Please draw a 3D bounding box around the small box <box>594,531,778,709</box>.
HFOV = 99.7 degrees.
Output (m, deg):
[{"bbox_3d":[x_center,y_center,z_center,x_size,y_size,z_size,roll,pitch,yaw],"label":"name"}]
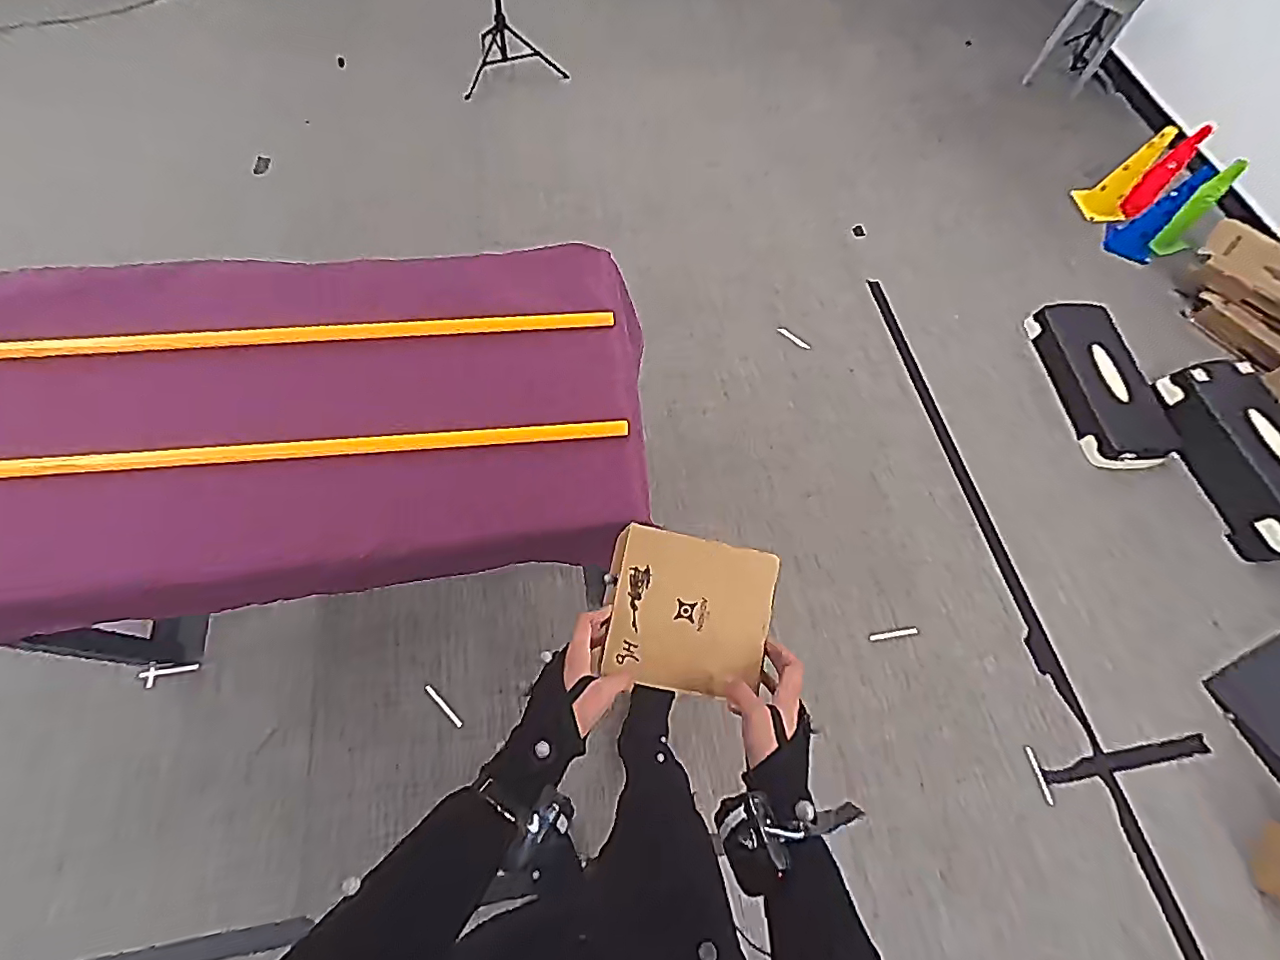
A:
[{"bbox_3d":[0.047,0.165,0.673,0.179,0.176,0.168,13,79,-5],"label":"small box"}]
